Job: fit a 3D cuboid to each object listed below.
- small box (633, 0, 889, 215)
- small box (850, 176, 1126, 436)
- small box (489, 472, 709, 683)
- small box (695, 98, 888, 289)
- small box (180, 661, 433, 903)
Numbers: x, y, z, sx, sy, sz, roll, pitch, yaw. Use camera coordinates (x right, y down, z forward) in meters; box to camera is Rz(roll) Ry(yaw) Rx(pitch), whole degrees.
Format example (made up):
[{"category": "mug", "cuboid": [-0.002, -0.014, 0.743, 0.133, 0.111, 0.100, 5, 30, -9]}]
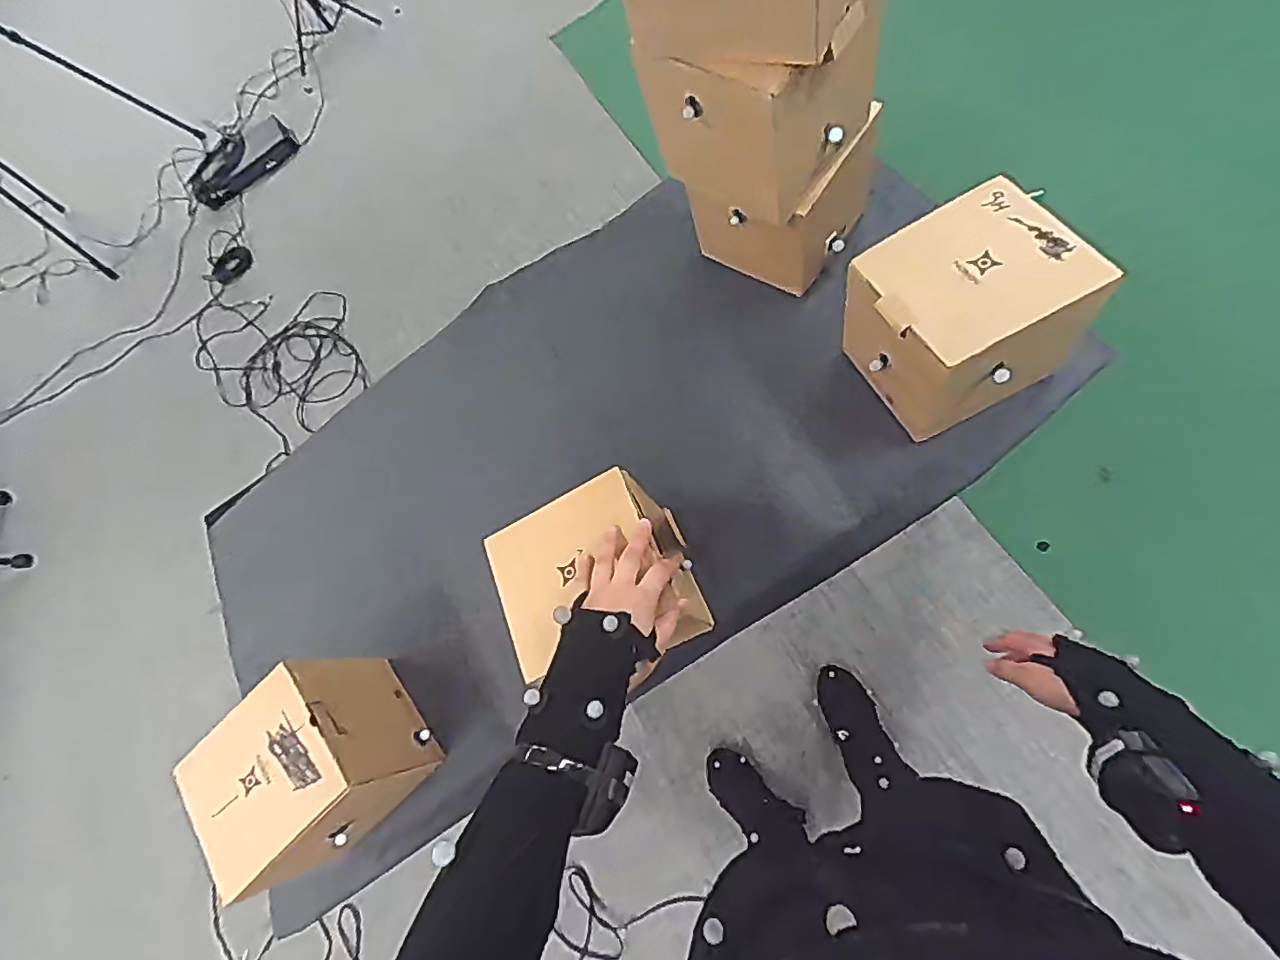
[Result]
[{"category": "small box", "cuboid": [0.127, -0.415, 0.560, 0.179, 0.176, 0.168, 38, 90, 22]}, {"category": "small box", "cuboid": [0.353, -0.176, 0.594, 0.179, 0.176, 0.168, -29, 64, 7]}, {"category": "small box", "cuboid": [-0.039, 0.122, 0.620, 0.179, 0.176, 0.168, -27, 66, 6]}, {"category": "small box", "cuboid": [0.190, -0.384, 0.711, 0.179, 0.176, 0.168, 34, 88, 21]}, {"category": "small box", "cuboid": [-0.380, 0.337, 0.650, 0.179, 0.176, 0.168, -44, 68, 0]}]
